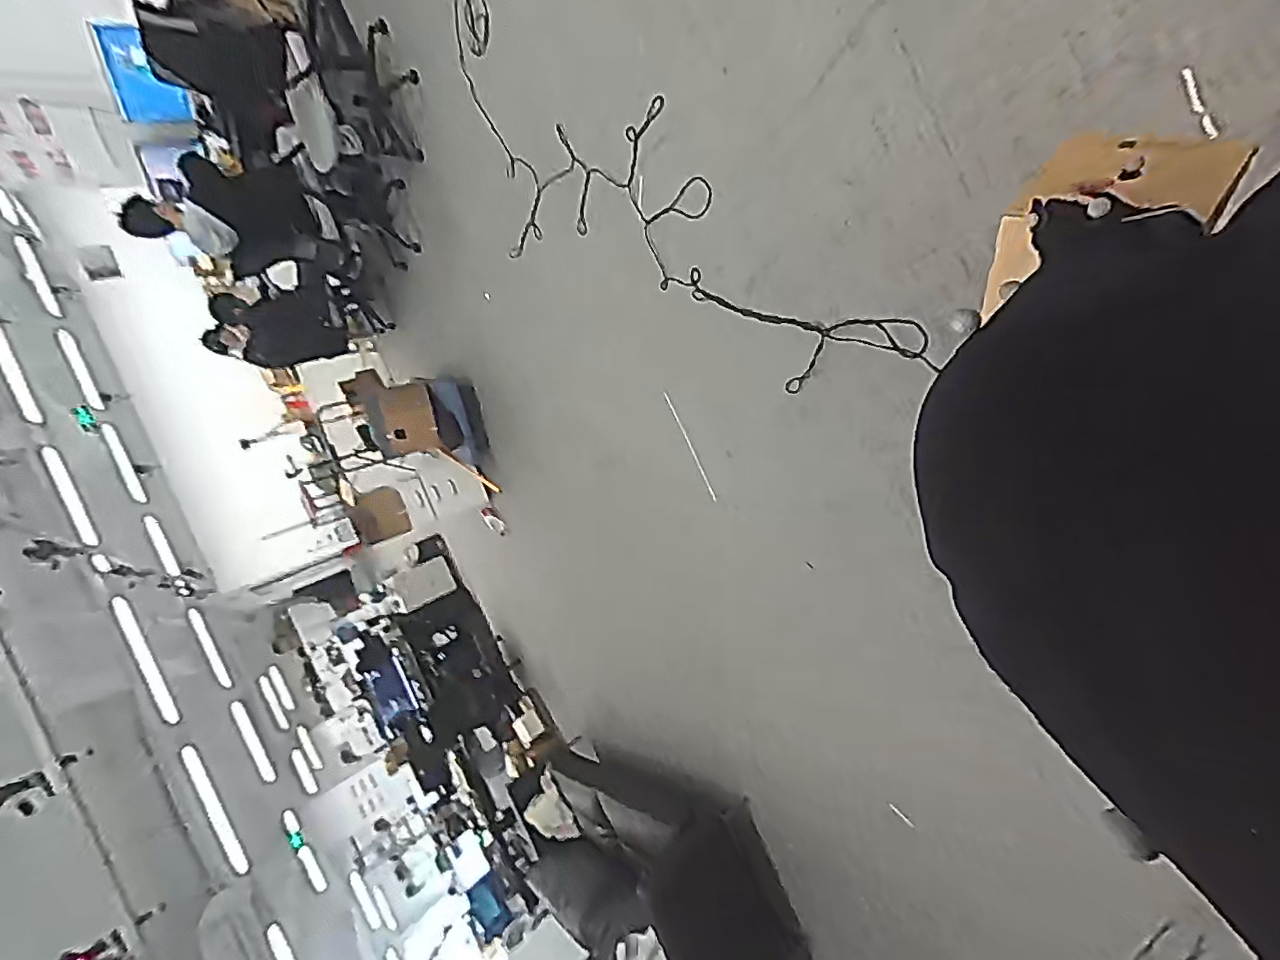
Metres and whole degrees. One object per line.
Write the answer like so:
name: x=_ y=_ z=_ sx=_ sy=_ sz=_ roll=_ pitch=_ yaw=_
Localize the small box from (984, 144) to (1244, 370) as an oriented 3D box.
small box: x=0.540 y=-0.265 z=0.631 sx=0.168 sy=0.176 sz=0.179 roll=30 pitch=158 yaw=38
